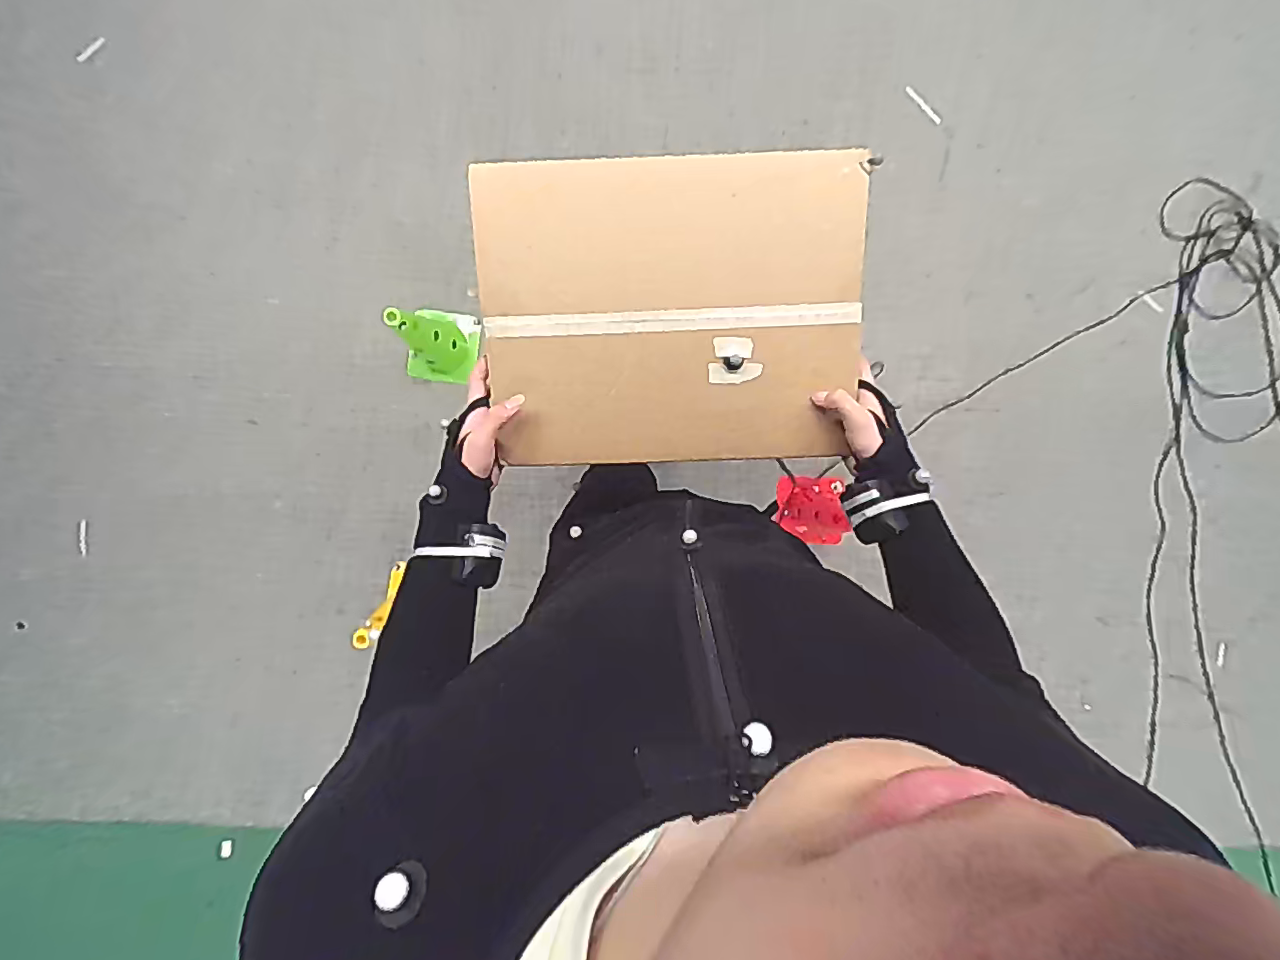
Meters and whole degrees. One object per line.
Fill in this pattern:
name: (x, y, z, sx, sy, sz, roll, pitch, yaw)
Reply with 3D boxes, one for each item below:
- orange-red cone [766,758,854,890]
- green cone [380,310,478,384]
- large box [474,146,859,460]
orange-red cone: (0.499, 0.965, 1.483, 0.199, 0.360, 0.198, 9, 93, -2)
green cone: (-0.579, -0.377, 1.411, 0.200, 0.368, 0.202, 7, 94, -1)
large box: (0.032, -0.218, 0.733, 0.408, 0.320, 0.320, -3, 105, 0)
